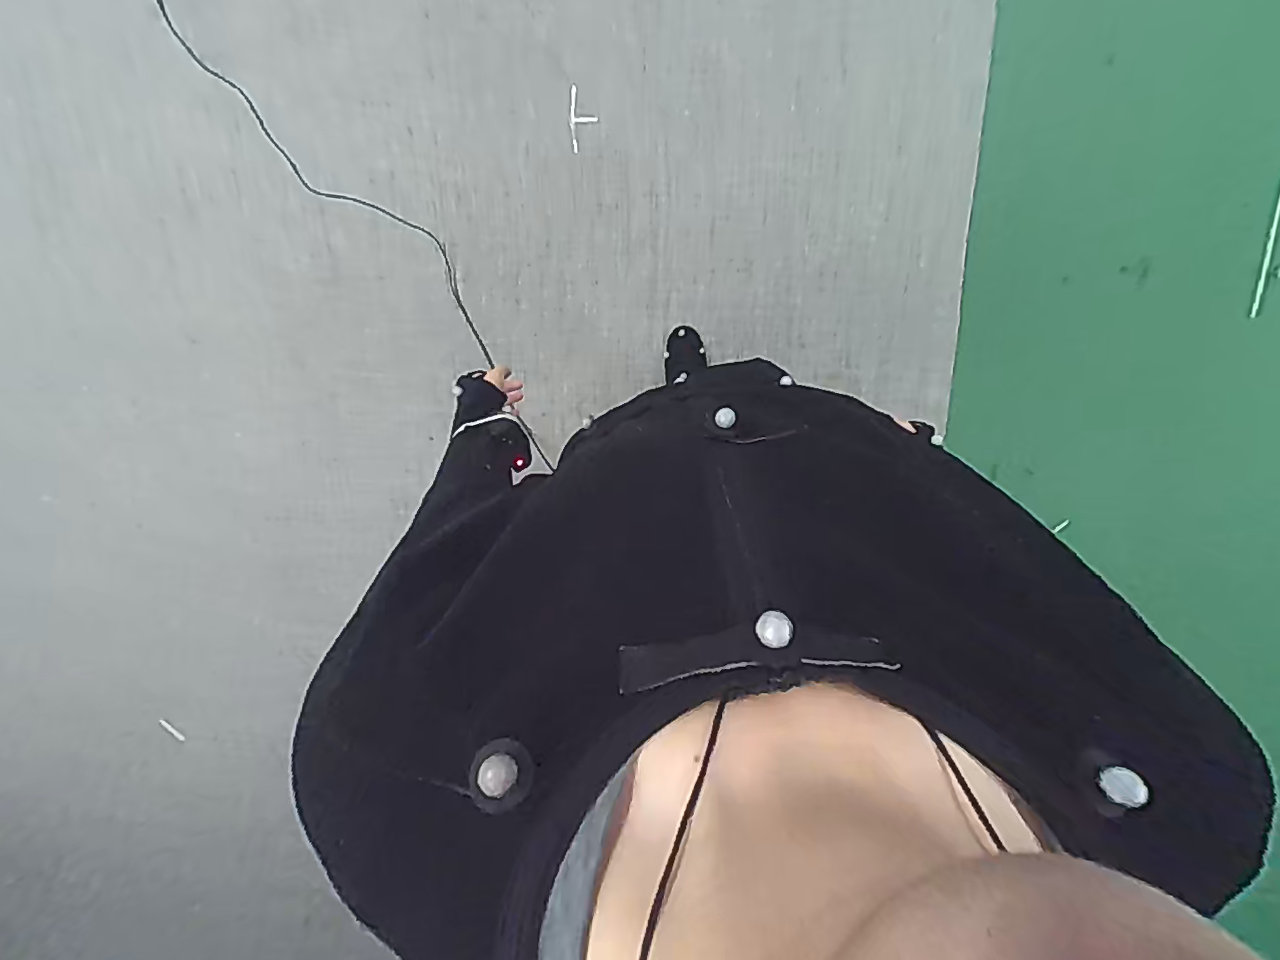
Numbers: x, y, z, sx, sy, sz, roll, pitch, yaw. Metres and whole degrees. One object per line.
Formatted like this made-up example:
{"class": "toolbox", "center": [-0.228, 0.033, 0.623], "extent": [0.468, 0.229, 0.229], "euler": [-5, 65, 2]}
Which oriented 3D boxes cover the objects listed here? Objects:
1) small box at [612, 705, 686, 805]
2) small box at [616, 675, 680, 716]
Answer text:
{"class": "small box", "center": [0.024, 0.710, 1.410], "extent": [0.179, 0.176, 0.168], "euler": [-4, 102, 0]}
{"class": "small box", "center": [0.026, 0.687, 1.572], "extent": [0.179, 0.176, 0.168], "euler": [-4, 102, 0]}
